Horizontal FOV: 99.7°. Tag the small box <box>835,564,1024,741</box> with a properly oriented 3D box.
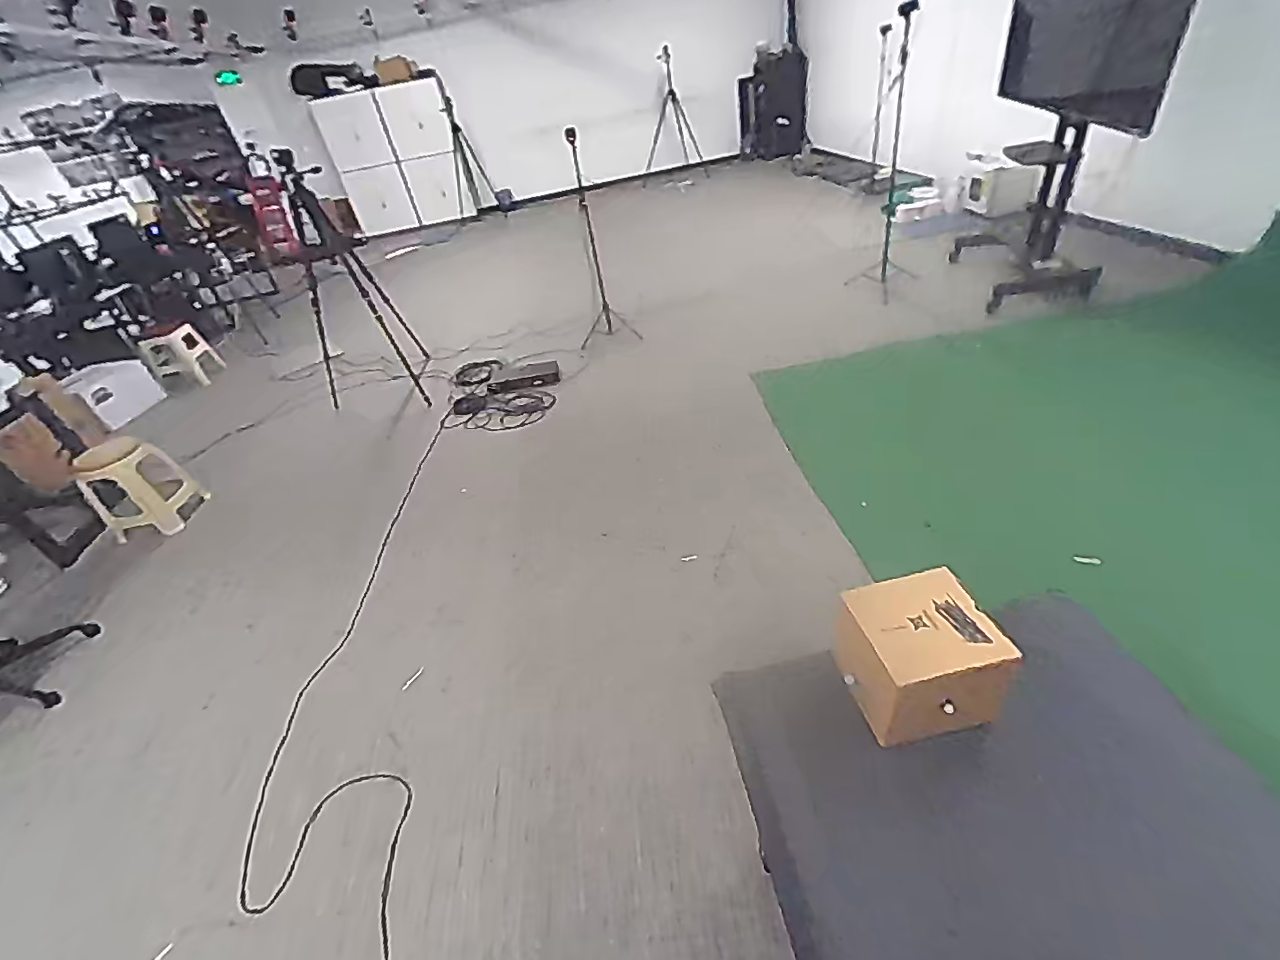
[{"bbox_3d":[0.409,0.255,0.801,0.179,0.176,0.168,-13,37,-2],"label":"small box"}]
